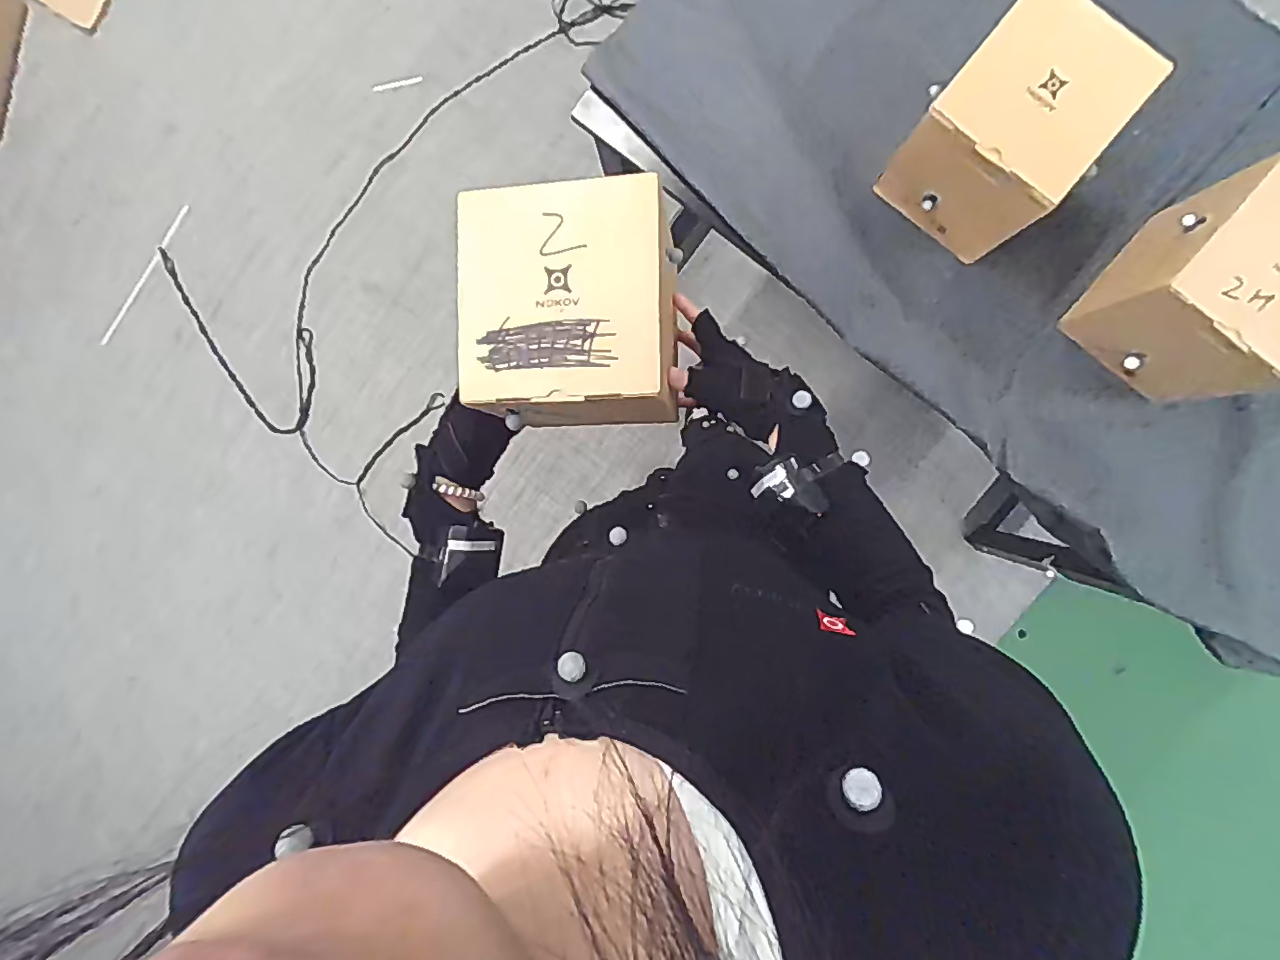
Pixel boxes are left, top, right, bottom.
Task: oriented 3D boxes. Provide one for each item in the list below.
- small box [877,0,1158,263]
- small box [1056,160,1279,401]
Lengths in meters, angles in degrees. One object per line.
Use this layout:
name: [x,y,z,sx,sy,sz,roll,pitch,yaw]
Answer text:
small box: [0.418,-0.396,0.636,0.168,0.176,0.179,39,94,0]
small box: [0.652,-0.212,0.630,0.168,0.176,0.179,39,94,1]
